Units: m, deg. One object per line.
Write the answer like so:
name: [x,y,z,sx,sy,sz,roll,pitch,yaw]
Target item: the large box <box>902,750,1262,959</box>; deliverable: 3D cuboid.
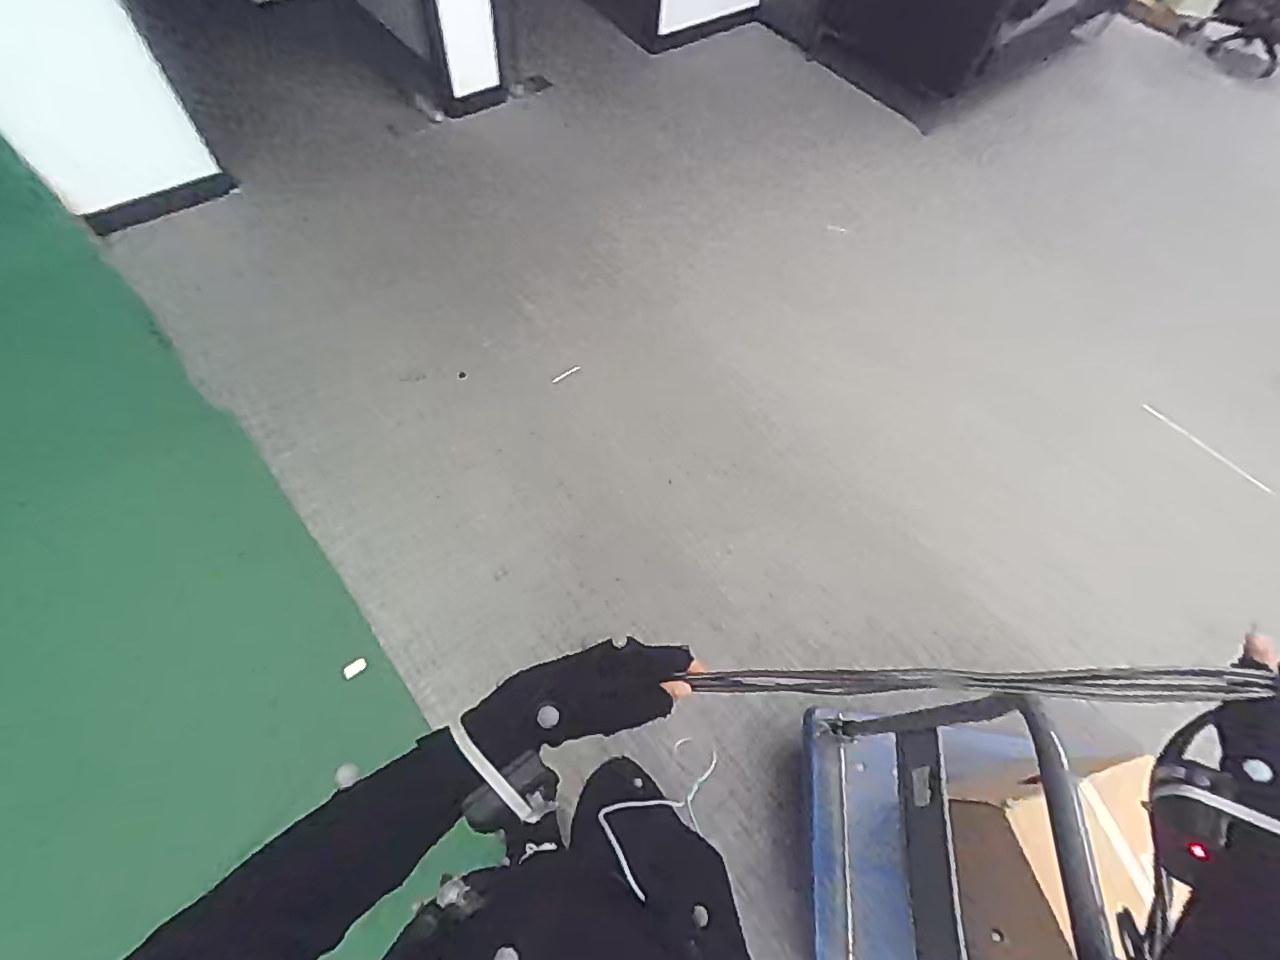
large box: [0.761,0.745,0.965,0.320,0.320,0.408,-10,63,-12]
